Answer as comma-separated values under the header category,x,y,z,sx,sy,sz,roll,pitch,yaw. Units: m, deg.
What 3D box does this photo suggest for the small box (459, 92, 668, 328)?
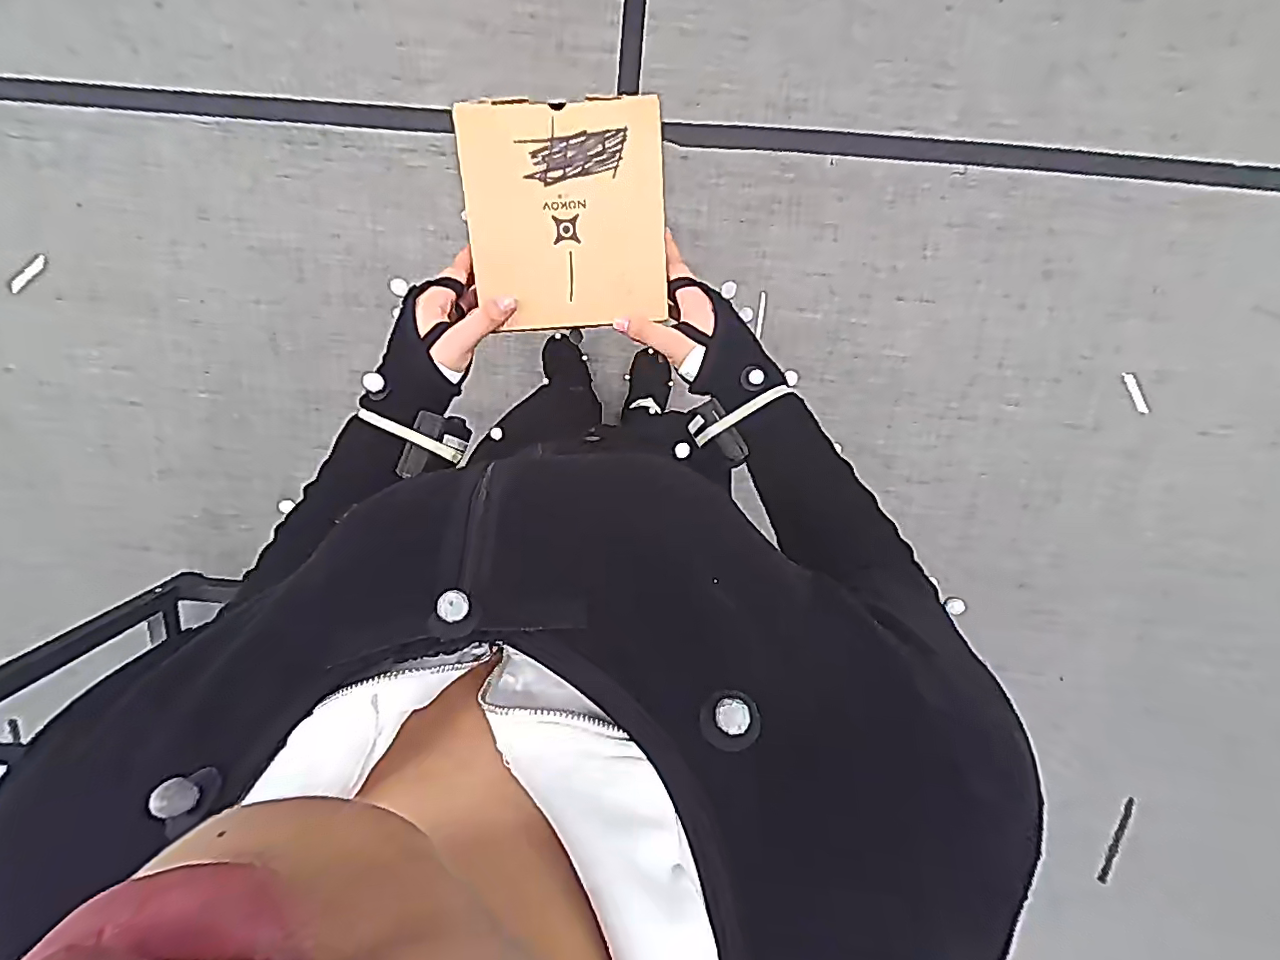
category,x,y,z,sx,sy,sz,roll,pitch,yaw
small box,-0.066,-0.243,0.527,0.168,0.176,0.179,-4,106,-3
